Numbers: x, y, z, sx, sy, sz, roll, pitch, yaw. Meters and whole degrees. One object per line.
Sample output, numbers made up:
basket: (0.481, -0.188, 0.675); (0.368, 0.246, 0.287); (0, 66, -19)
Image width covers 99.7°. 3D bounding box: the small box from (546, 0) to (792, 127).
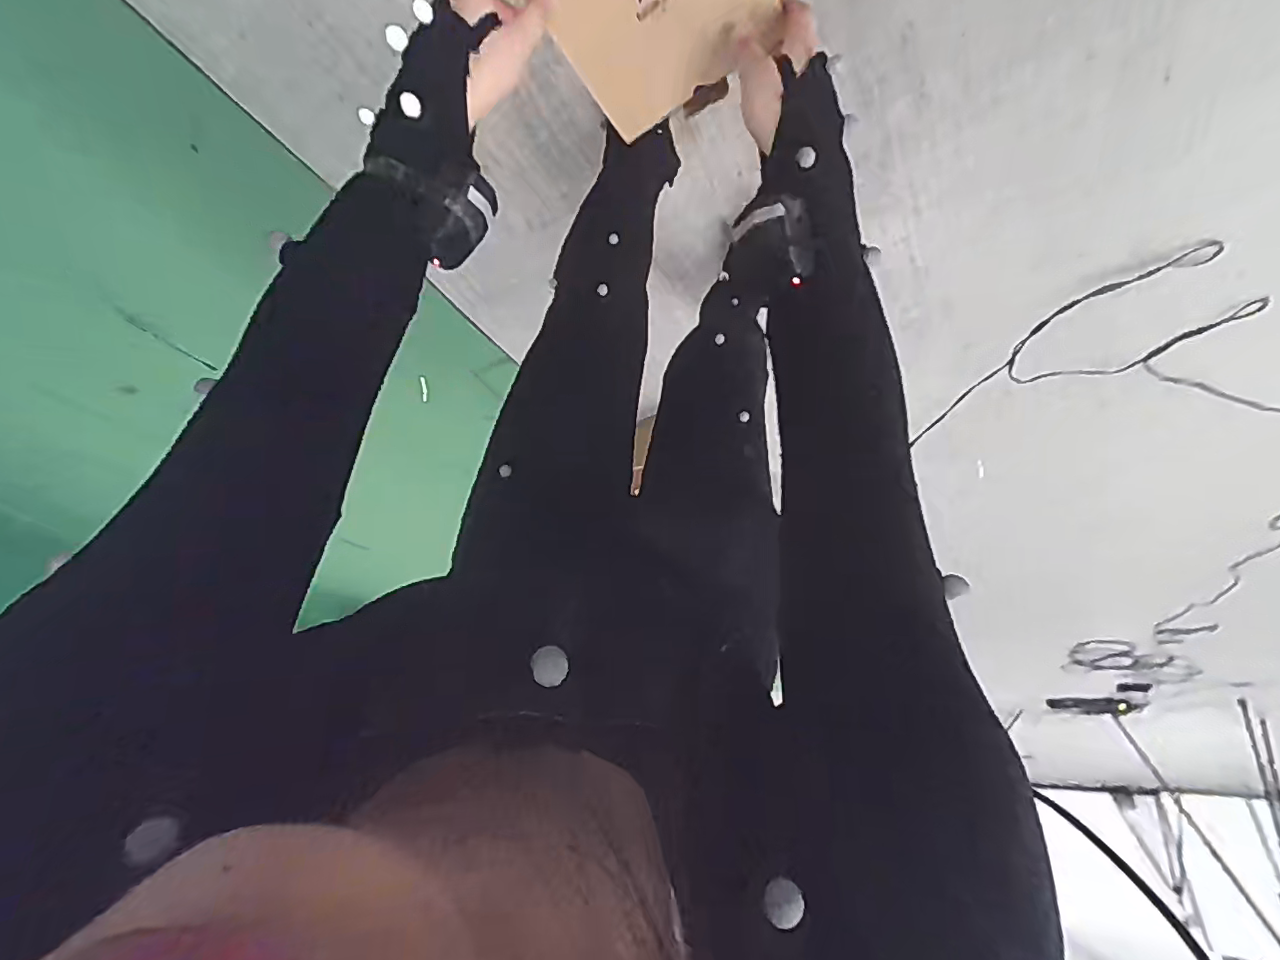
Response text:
small box: (0.014, -0.457, 0.447); (0.168, 0.176, 0.179); (-15, 149, 30)
